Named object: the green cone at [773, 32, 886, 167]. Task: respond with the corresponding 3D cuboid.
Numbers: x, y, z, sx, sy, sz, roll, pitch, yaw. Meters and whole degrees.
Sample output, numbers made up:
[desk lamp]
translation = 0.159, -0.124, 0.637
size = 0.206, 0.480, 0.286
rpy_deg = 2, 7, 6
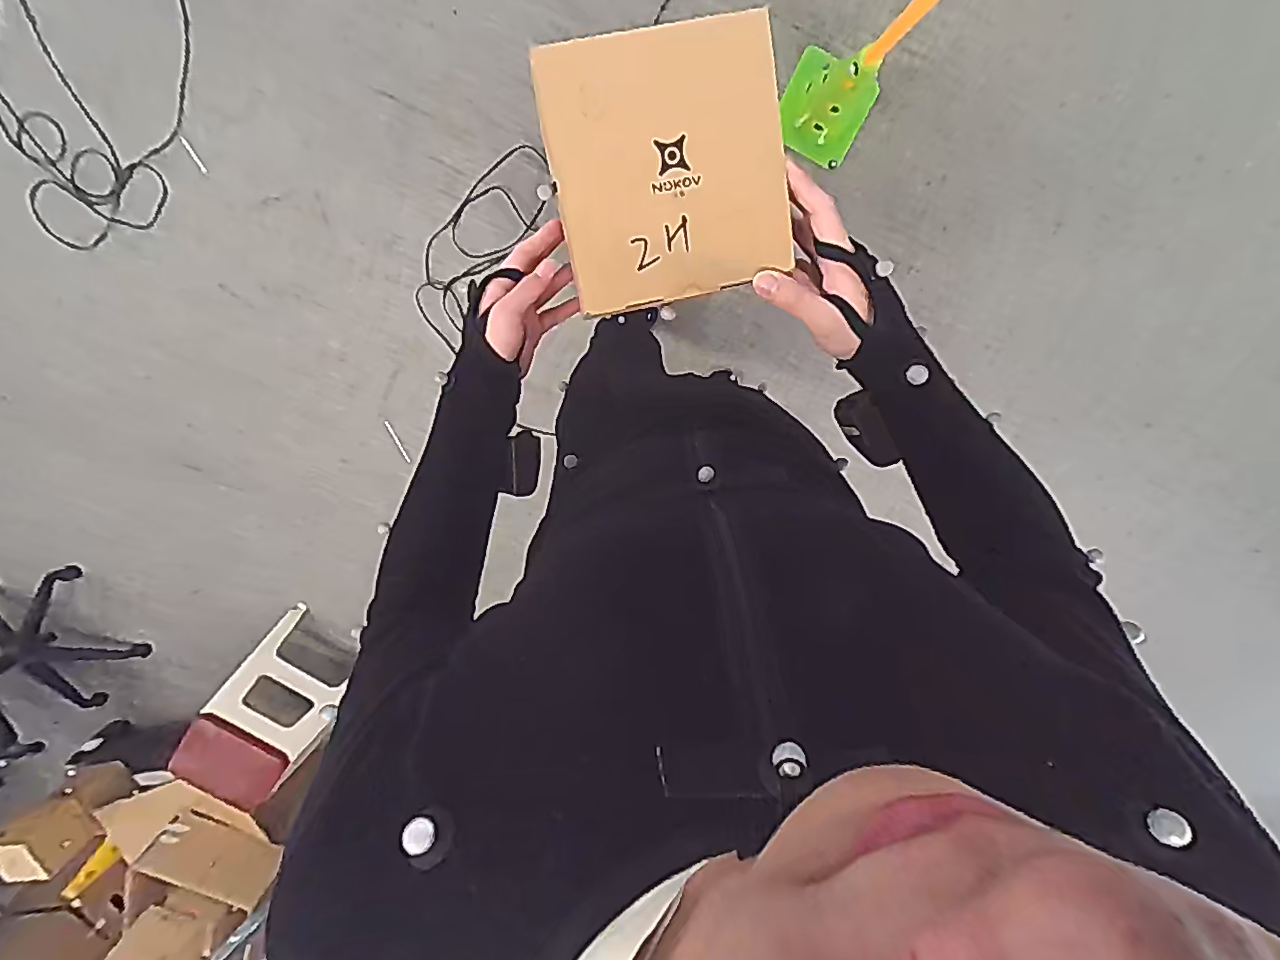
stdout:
[green cone]
translation = 0.426, -0.812, 1.100
size = 0.202, 0.368, 0.200
rpy_deg = 25, 110, -5
